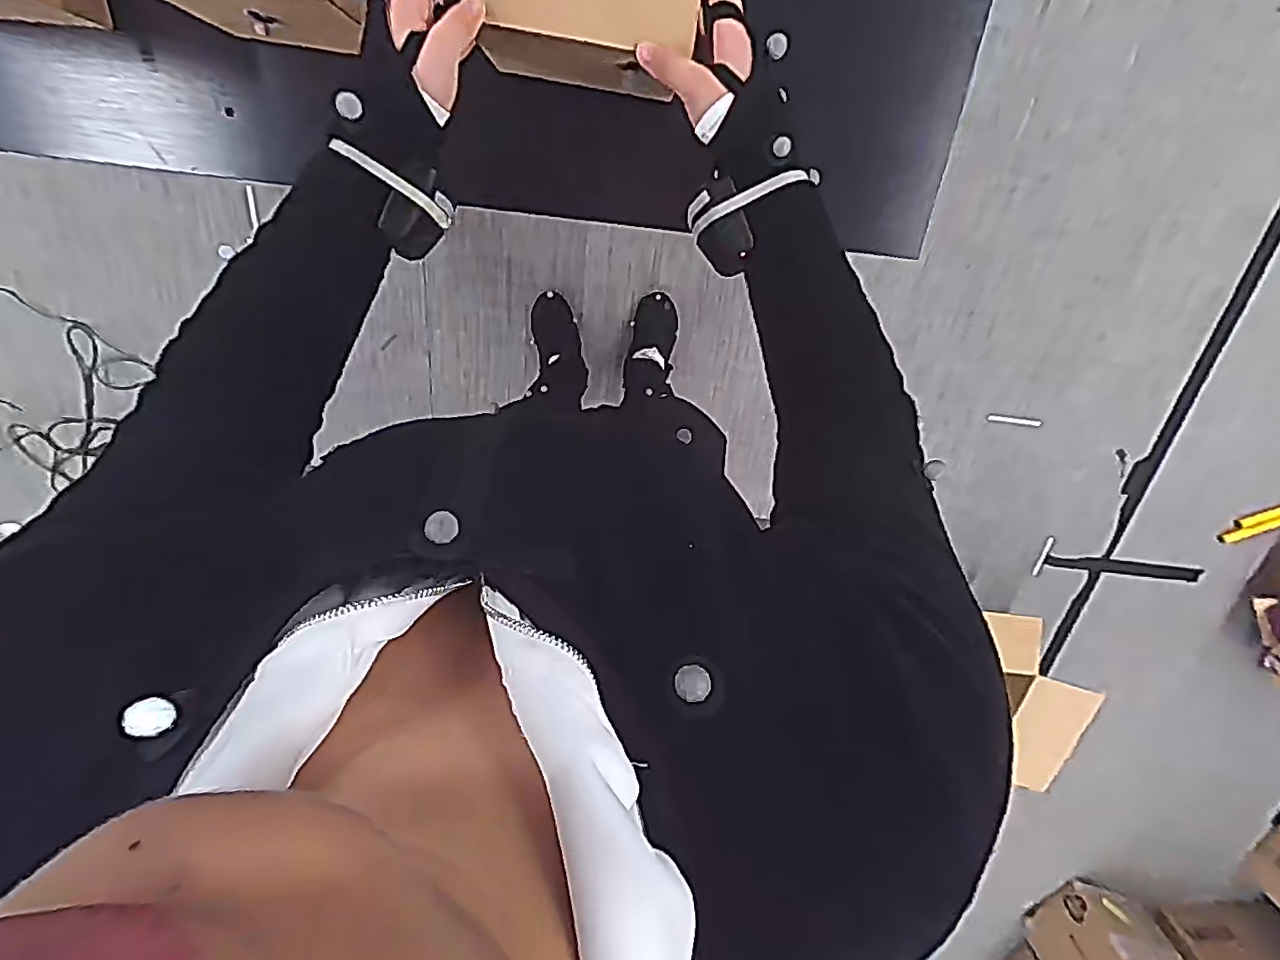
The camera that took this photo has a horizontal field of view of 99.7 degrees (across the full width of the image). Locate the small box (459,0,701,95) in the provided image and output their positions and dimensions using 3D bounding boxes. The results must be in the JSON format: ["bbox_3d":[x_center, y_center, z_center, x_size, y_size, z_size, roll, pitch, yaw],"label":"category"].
[{"bbox_3d":[-0.039,-0.435,0.440,0.179,0.176,0.168,6,116,-6],"label":"small box"}]

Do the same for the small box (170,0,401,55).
[{"bbox_3d":[-0.312,-0.480,0.445,0.179,0.176,0.168,6,114,-3],"label":"small box"}]

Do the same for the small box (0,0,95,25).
[{"bbox_3d":[-0.606,-0.500,0.435,0.179,0.176,0.168,3,113,-2],"label":"small box"}]
